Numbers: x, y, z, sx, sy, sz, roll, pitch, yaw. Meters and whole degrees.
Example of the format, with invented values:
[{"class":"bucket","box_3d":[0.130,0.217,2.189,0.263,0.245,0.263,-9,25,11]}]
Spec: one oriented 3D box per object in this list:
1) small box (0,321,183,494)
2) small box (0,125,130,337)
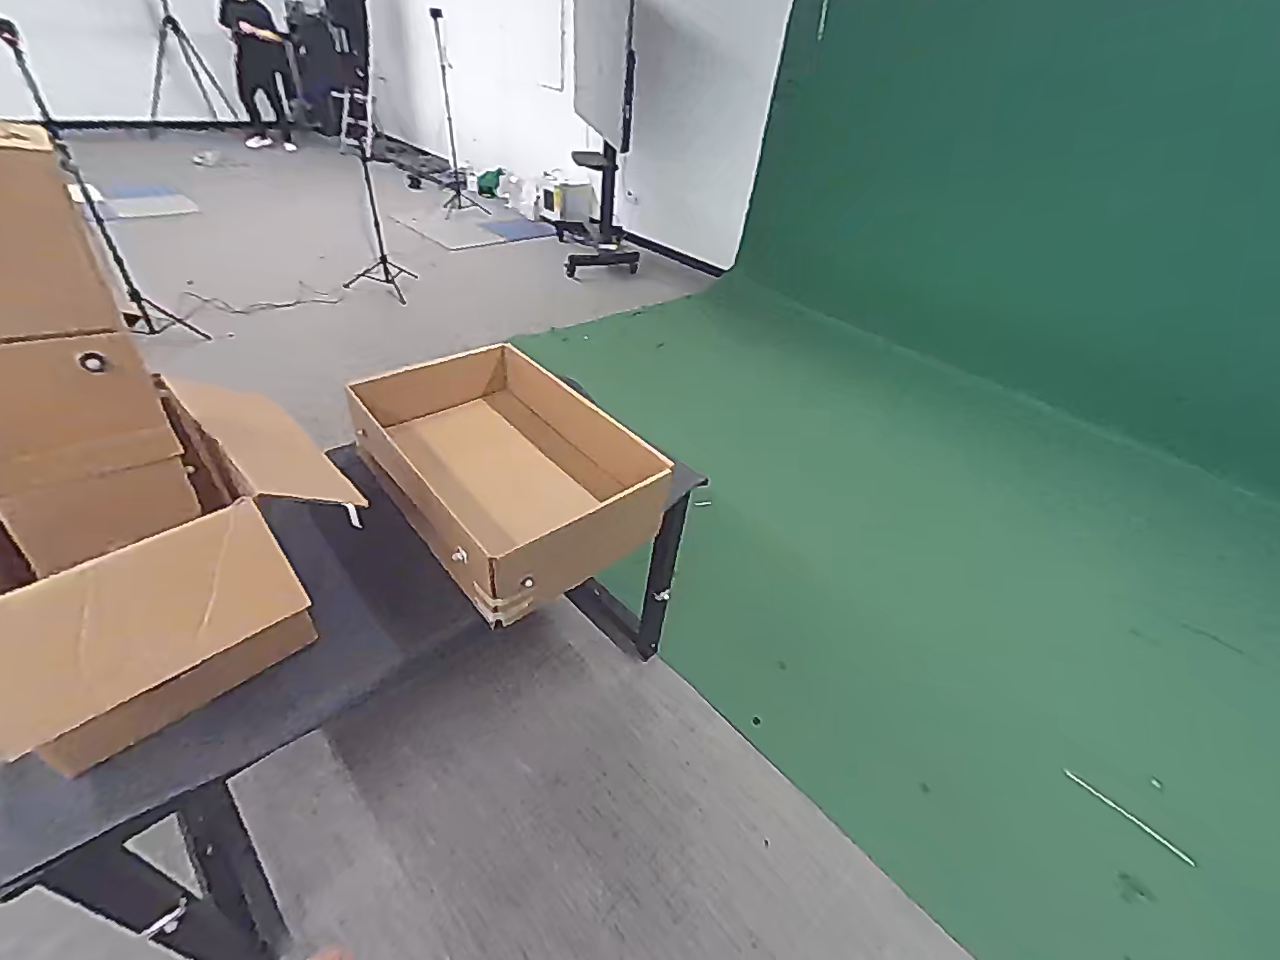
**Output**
[{"class":"small box","box_3d":[-0.673,-0.106,0.619,0.179,0.176,0.168,-24,47,-39]},{"class":"small box","box_3d":[-0.653,-0.241,0.527,0.179,0.176,0.168,-23,46,-38]}]
